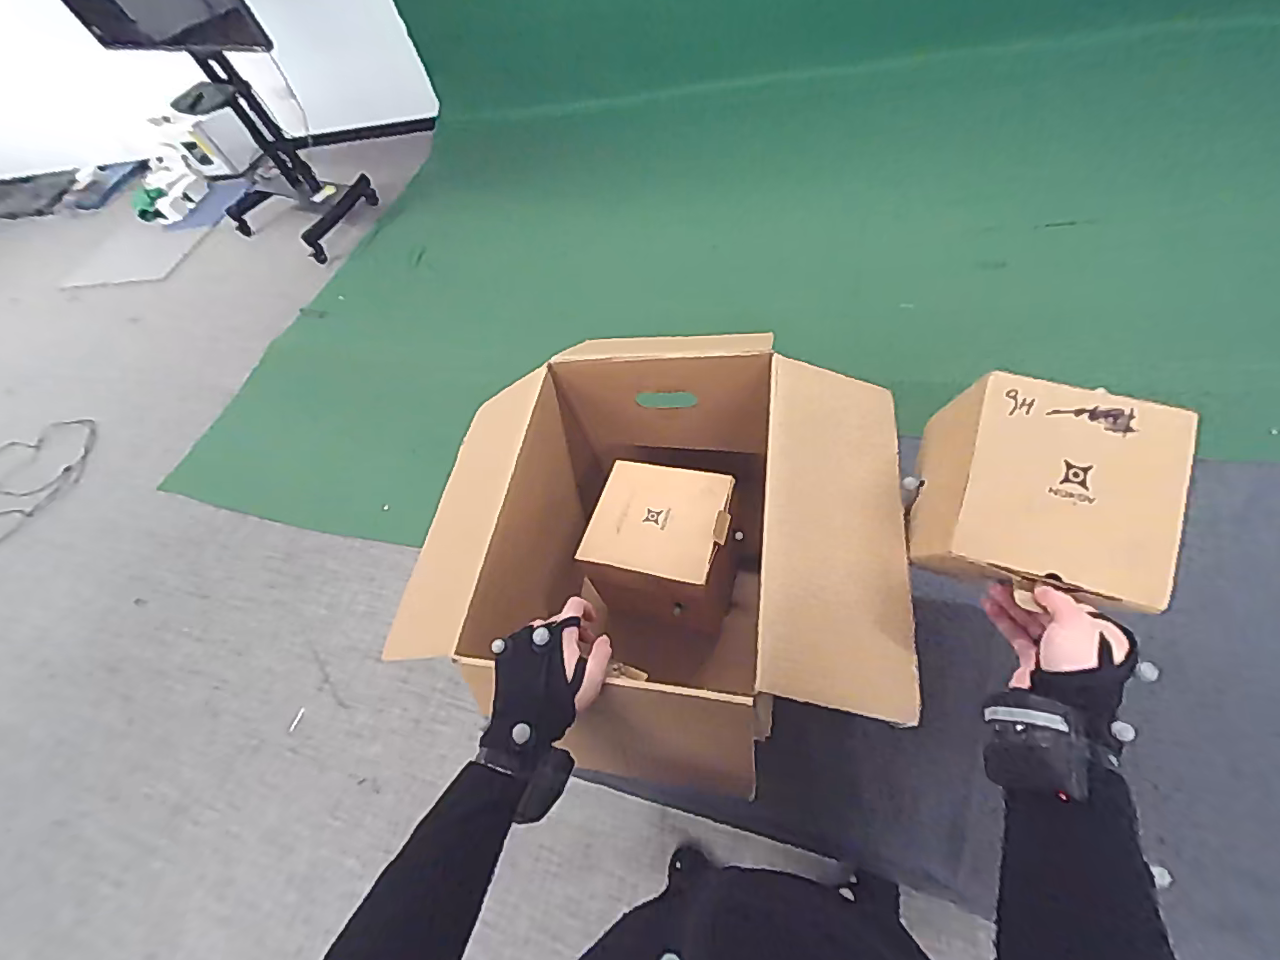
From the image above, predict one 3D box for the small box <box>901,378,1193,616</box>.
[{"bbox_3d":[0.388,0.024,0.551,0.168,0.176,0.179,17,82,11],"label":"small box"}]
